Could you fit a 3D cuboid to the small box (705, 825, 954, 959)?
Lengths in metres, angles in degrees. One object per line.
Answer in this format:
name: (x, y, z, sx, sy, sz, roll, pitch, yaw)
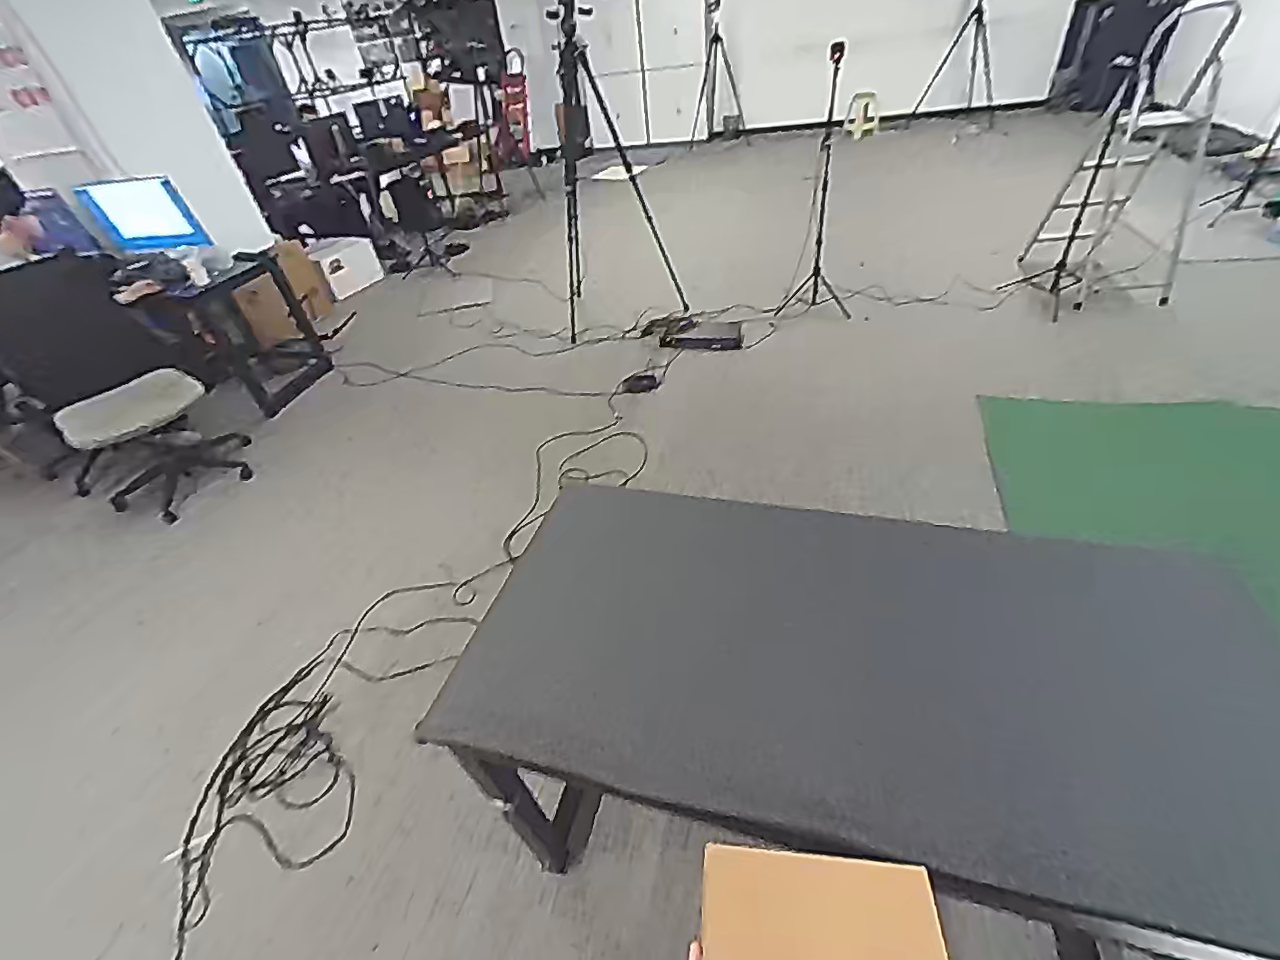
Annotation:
small box: (0.132, 0.395, 0.409, 0.168, 0.176, 0.179, 1, 42, 8)
